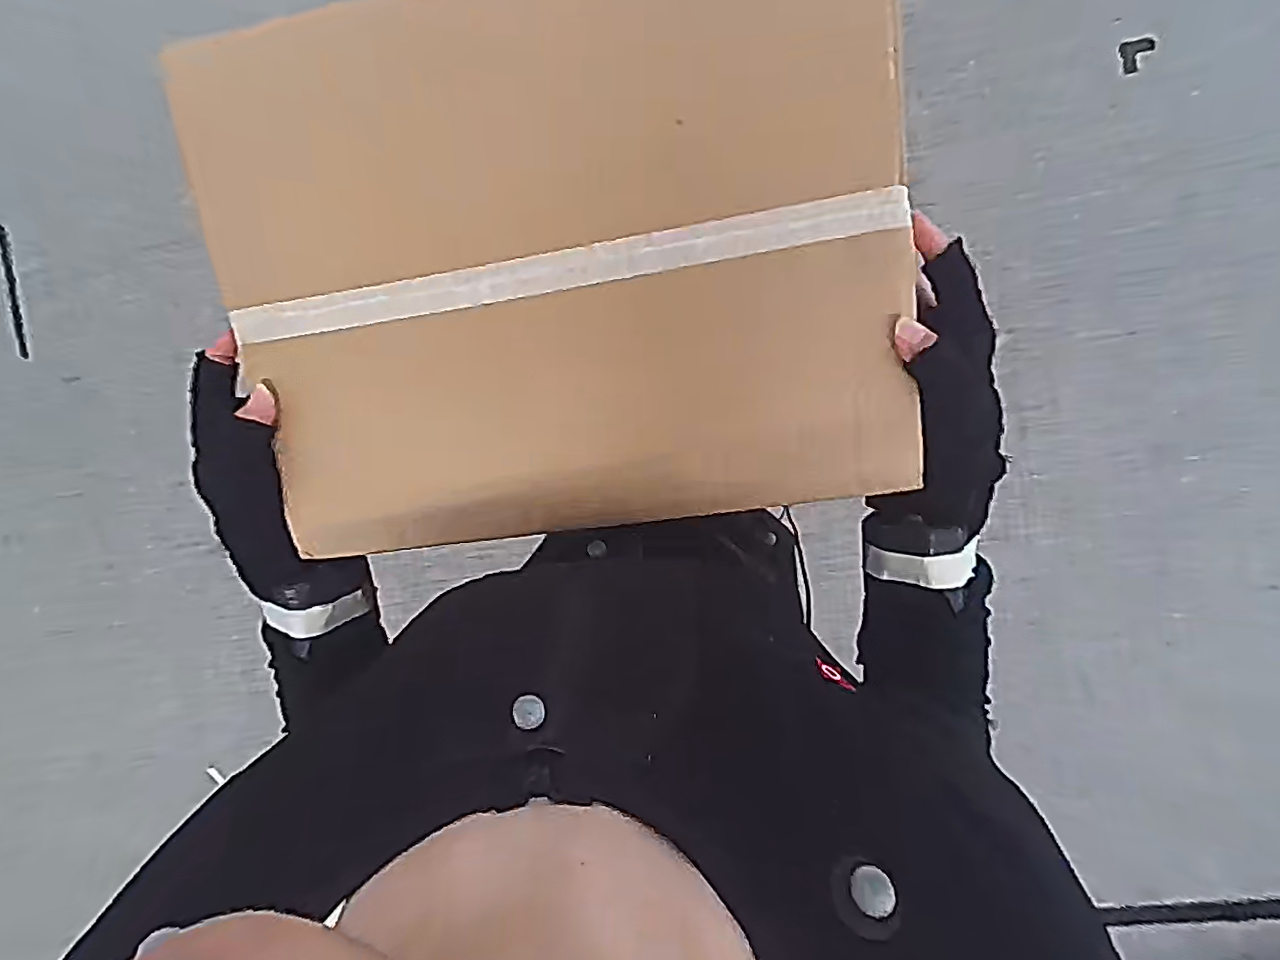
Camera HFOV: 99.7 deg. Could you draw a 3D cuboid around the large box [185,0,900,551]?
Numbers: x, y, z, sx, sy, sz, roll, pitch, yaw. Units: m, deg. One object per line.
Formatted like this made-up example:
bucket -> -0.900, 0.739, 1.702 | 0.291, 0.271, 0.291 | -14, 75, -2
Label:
large box -> -0.042, -0.156, 0.473 | 0.408, 0.320, 0.320 | -7, 100, 7
